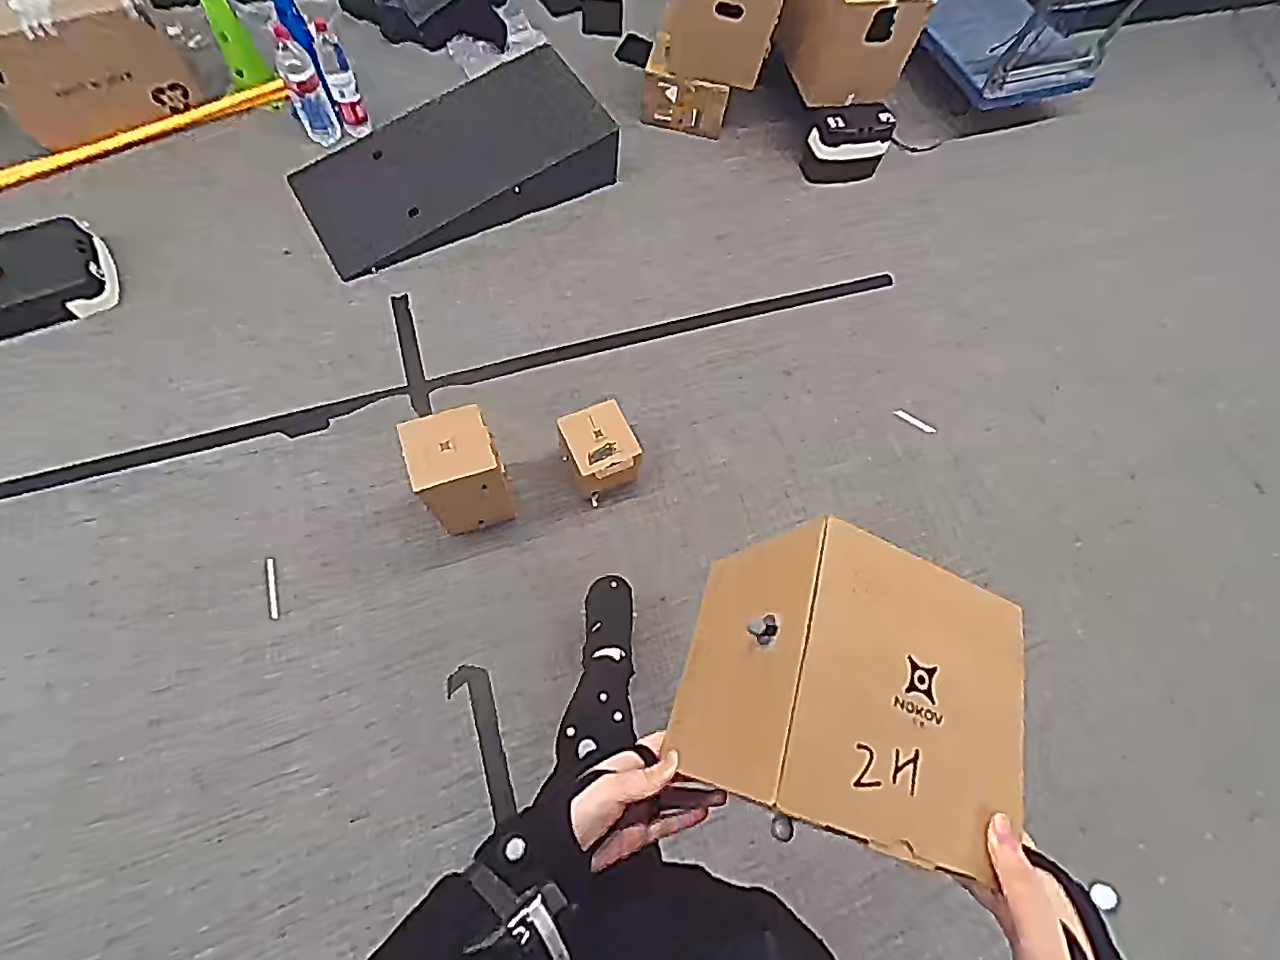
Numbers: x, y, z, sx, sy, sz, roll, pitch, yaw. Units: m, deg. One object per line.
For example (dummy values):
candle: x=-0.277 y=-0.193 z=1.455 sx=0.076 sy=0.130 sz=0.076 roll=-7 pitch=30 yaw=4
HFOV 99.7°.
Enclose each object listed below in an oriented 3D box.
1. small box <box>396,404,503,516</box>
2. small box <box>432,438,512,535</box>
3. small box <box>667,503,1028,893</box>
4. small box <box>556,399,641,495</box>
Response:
small box: x=-0.407 y=-0.039 z=1.187 sx=0.179 sy=0.176 sz=0.168 roll=-18 pitch=70 yaw=-12
small box: x=-0.422 y=0.020 z=1.339 sx=0.179 sy=0.176 sz=0.168 roll=-15 pitch=70 yaw=-13
small box: x=0.137 y=0.146 z=0.389 sx=0.168 sy=0.176 sz=0.179 roll=25 pitch=64 yaw=-10
small box: x=-0.109 y=-0.076 z=1.412 sx=0.168 sy=0.176 sz=0.179 roll=-22 pitch=71 yaw=-14
